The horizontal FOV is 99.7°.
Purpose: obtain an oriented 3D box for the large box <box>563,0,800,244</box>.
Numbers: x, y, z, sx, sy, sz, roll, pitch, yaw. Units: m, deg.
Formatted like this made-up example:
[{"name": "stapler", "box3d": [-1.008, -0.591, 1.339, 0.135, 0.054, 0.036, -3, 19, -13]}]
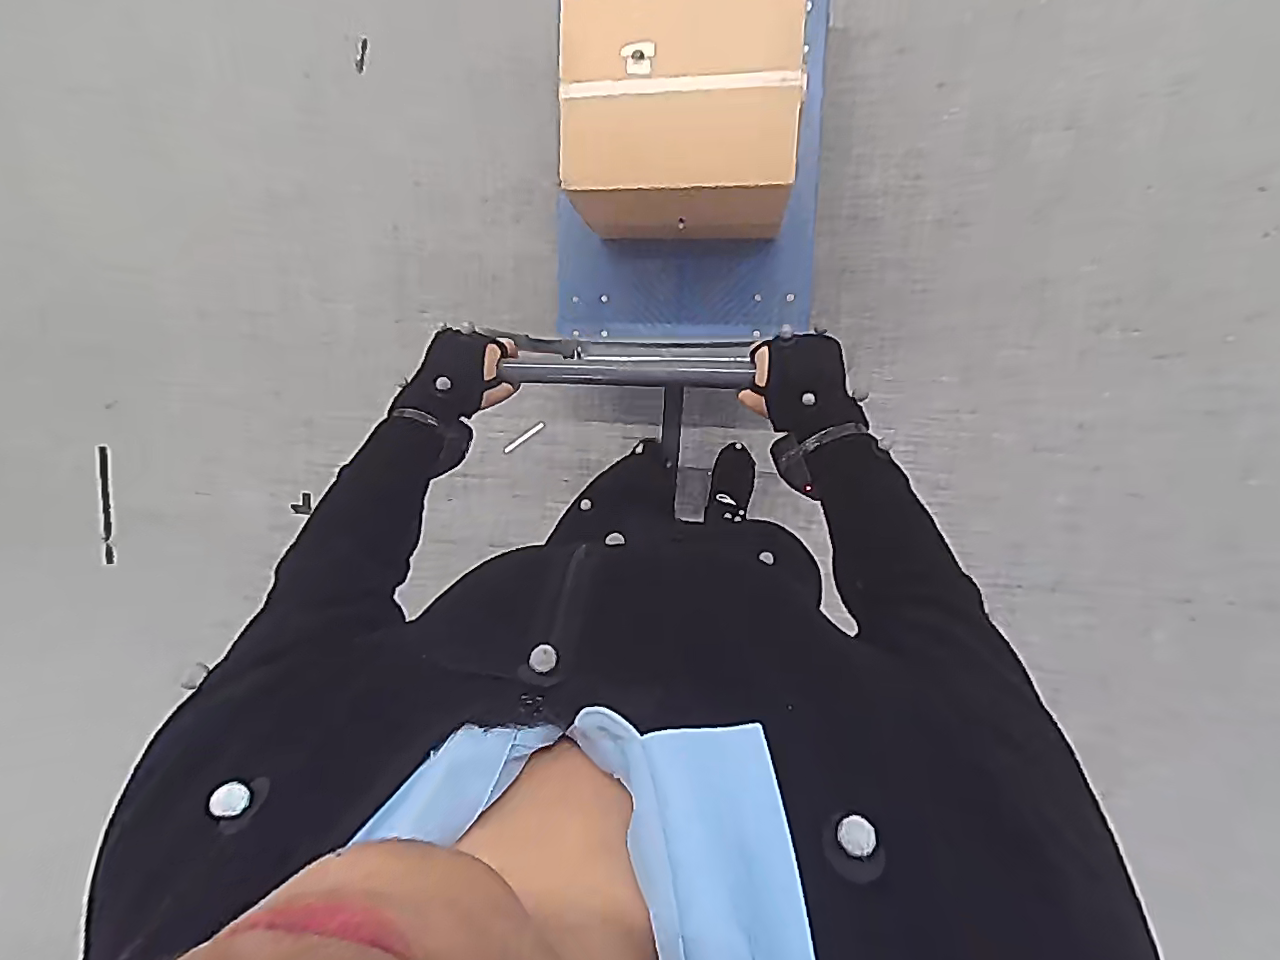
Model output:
[{"name": "large box", "box3d": [0.087, -0.670, 1.065, 0.408, 0.320, 0.320, 3, 98, 9]}]
